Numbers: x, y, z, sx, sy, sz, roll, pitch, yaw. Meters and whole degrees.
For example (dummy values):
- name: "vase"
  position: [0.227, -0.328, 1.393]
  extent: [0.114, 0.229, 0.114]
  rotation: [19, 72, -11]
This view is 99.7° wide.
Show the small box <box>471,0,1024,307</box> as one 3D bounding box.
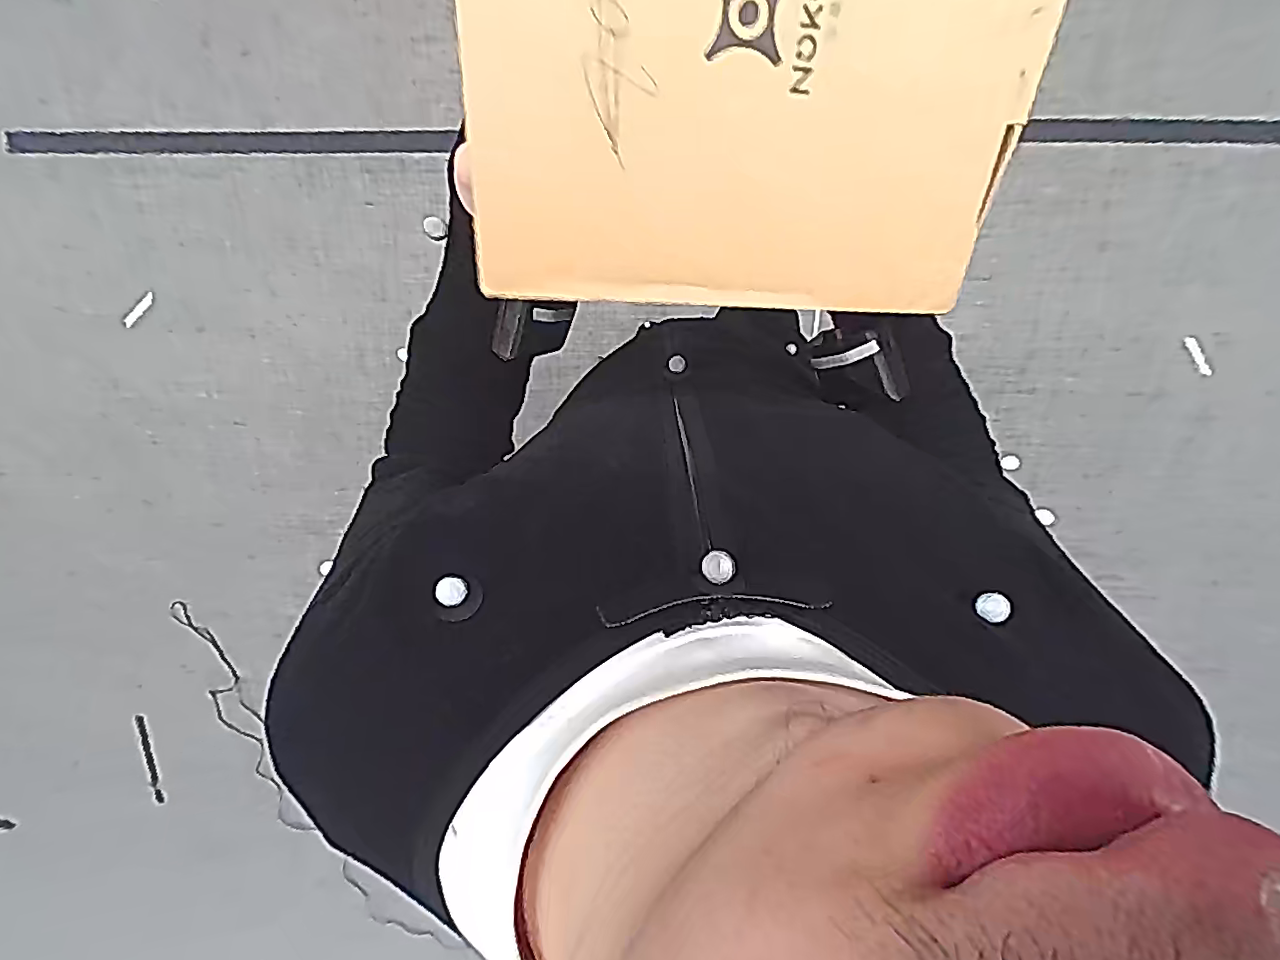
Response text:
- name: "small box"
  position: [0.029, -0.179, 0.238]
  extent: [0.179, 0.176, 0.168]
  rotation: [0, 118, -4]
